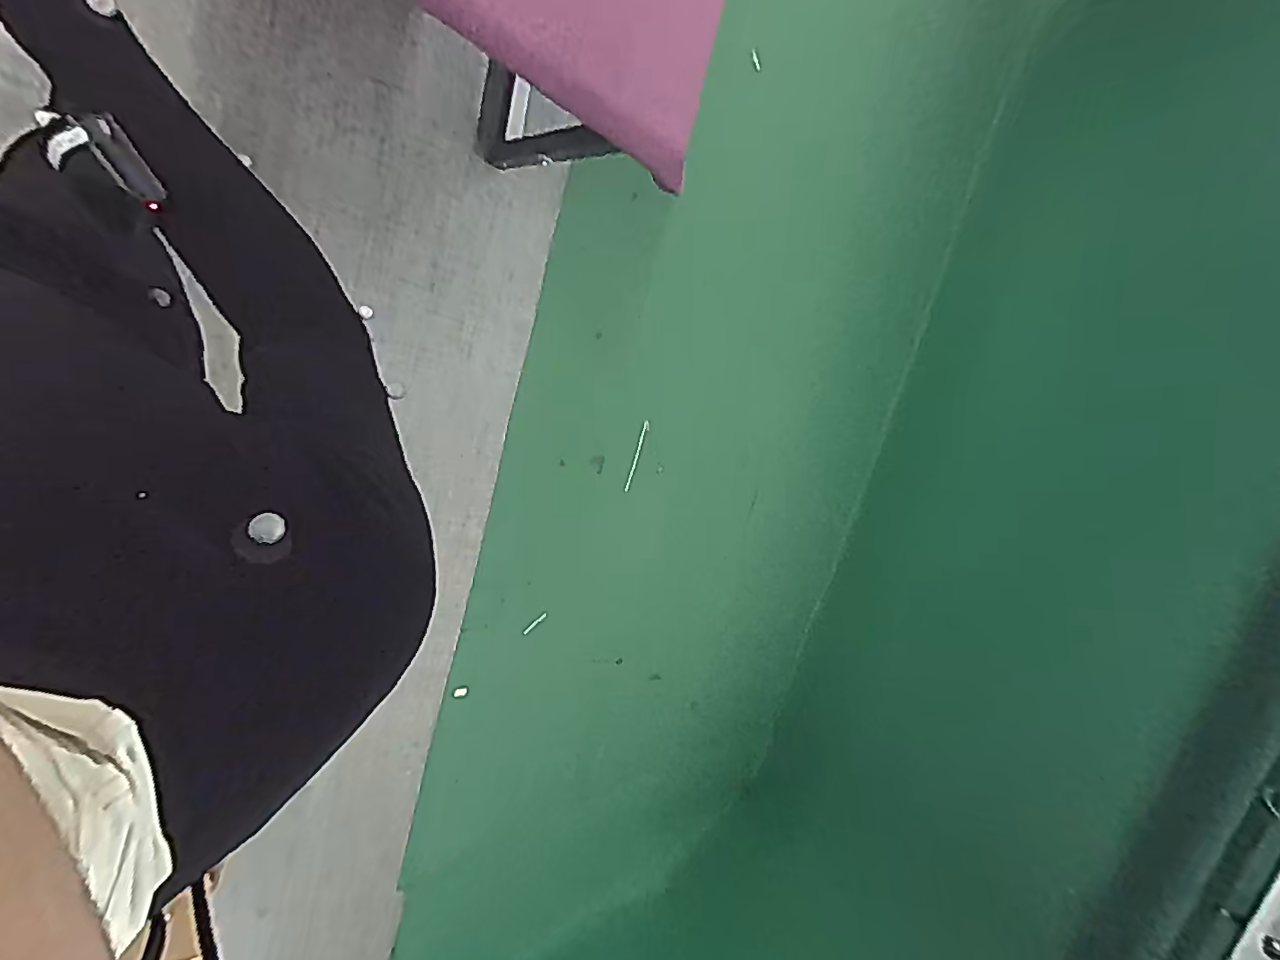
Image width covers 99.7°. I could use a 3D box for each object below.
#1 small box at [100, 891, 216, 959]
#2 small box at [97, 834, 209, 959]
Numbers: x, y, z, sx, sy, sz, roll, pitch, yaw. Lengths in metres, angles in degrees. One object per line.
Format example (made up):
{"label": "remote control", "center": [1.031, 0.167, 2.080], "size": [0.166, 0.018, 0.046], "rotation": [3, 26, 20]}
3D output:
{"label": "small box", "center": [-1.038, 1.045, 1.157], "size": [0.168, 0.176, 0.179], "rotation": [13, 100, -47]}
{"label": "small box", "center": [-1.142, 0.987, 1.270], "size": [0.168, 0.176, 0.179], "rotation": [12, 100, -46]}
